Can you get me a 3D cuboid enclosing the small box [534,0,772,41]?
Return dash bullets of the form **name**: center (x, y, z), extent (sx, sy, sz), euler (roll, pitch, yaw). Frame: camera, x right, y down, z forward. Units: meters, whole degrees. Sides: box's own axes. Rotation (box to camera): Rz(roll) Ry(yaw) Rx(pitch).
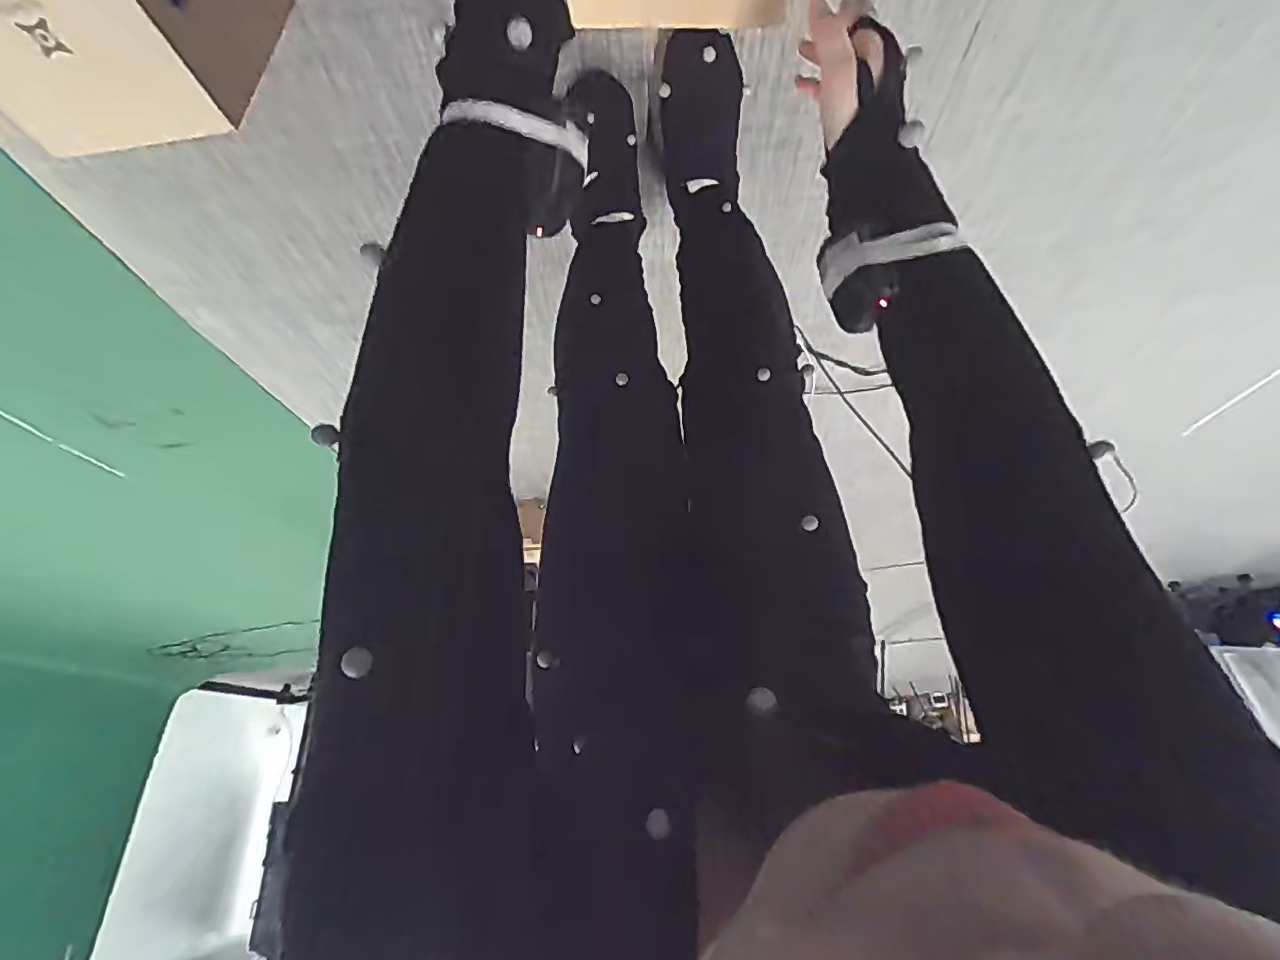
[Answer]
- **small box**: center (0.009, -0.447, 0.382), extent (0.179, 0.176, 0.168), euler (-2, 151, -2)
